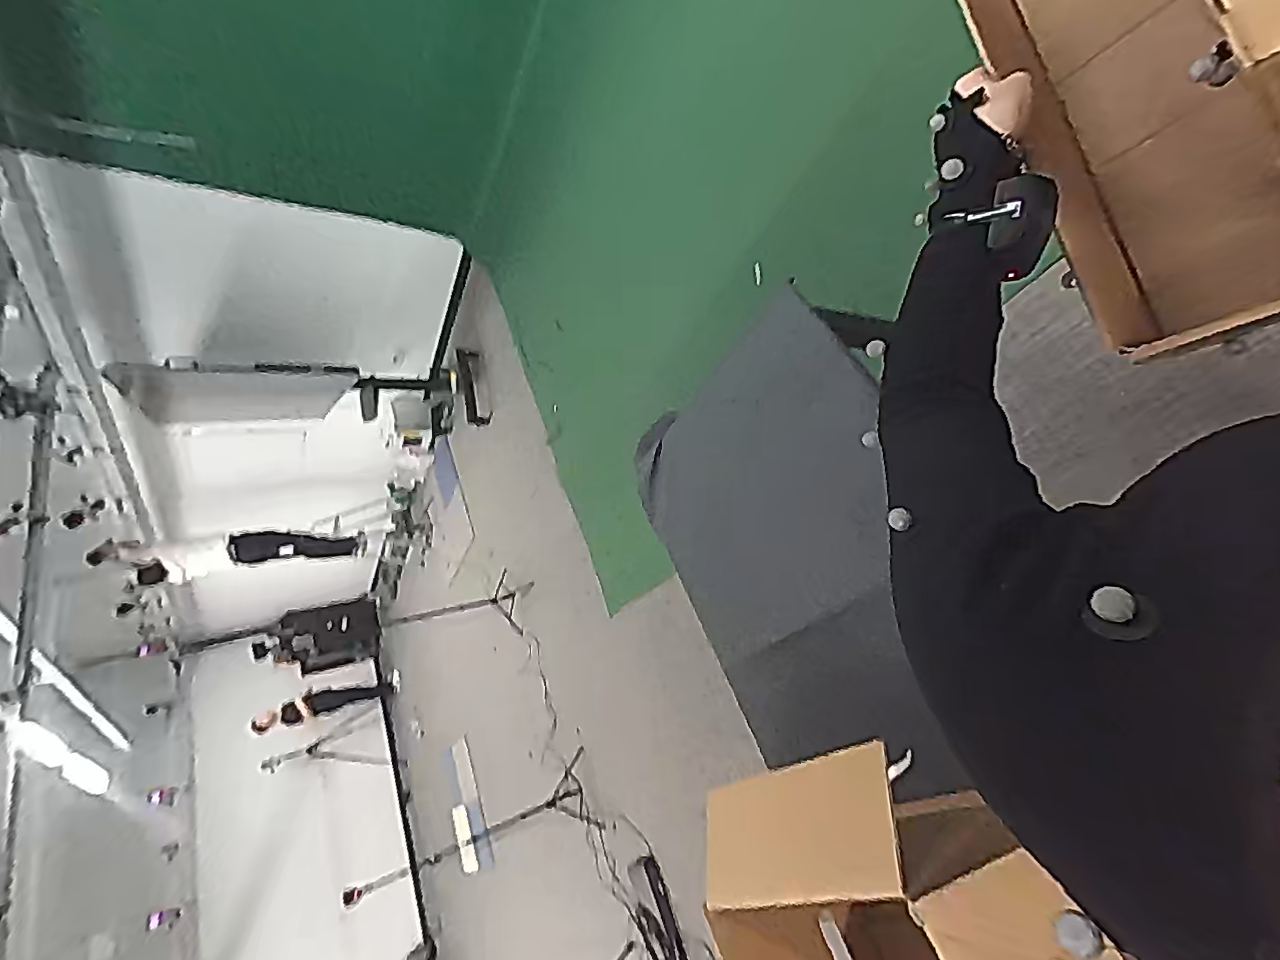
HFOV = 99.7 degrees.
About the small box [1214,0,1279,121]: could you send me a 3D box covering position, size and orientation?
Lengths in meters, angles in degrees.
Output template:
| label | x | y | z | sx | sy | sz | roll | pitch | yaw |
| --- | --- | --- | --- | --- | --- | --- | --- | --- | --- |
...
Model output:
| label | x | y | z | sx | sy | sz | roll | pitch | yaw |
| --- | --- | --- | --- | --- | --- | --- | --- | --- | --- |
| small box | 0.359 | -0.292 | 0.226 | 0.179 | 0.176 | 0.168 | -27 | 75 | 51 |
